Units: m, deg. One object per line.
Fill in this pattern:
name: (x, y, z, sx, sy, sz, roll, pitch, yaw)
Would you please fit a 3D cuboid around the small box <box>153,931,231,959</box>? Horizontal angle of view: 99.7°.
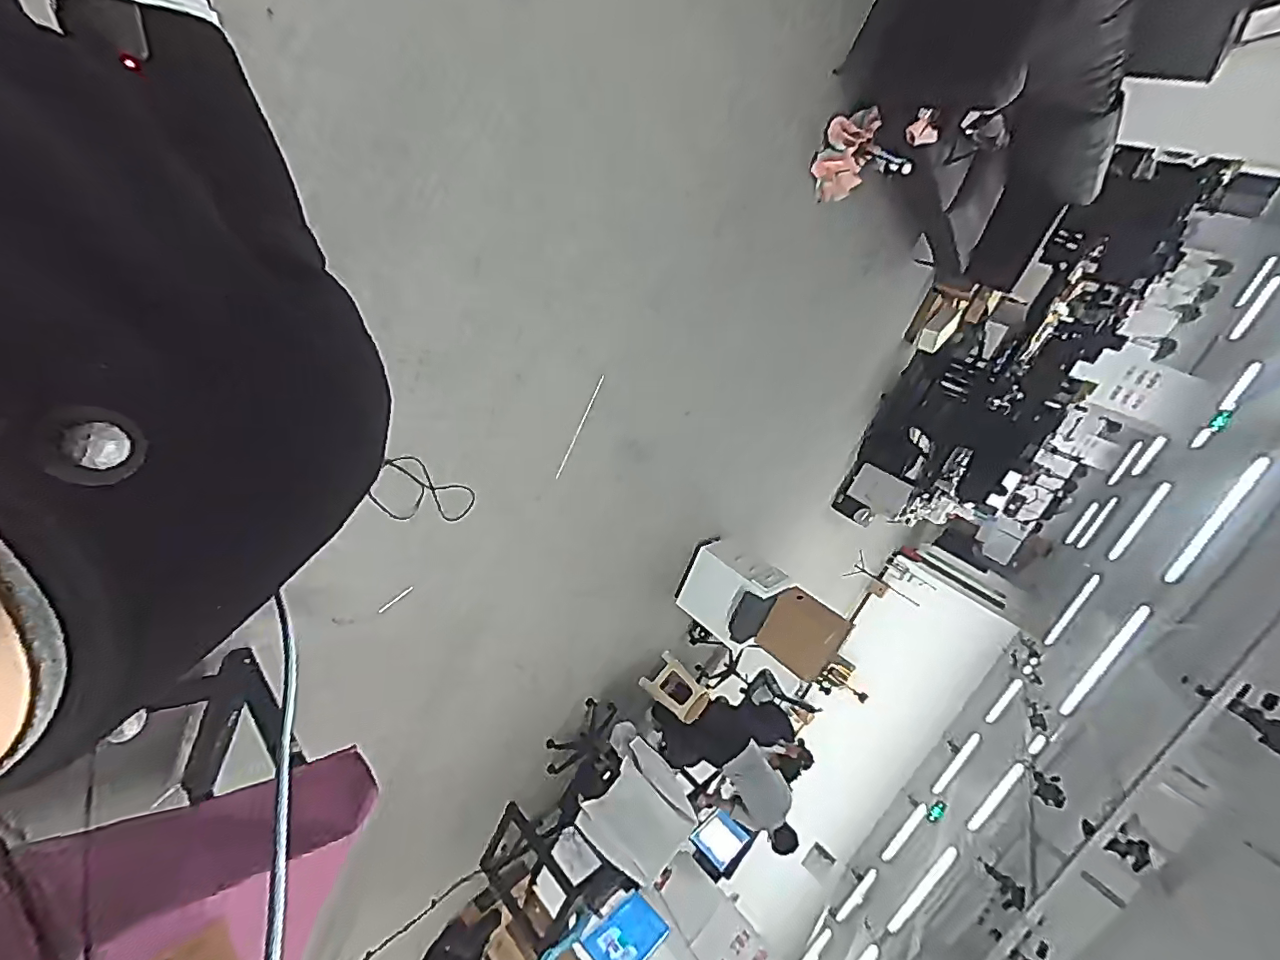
small box: (-0.913, 1.048, 1.061, 0.168, 0.176, 0.179, -1, 121, -51)
